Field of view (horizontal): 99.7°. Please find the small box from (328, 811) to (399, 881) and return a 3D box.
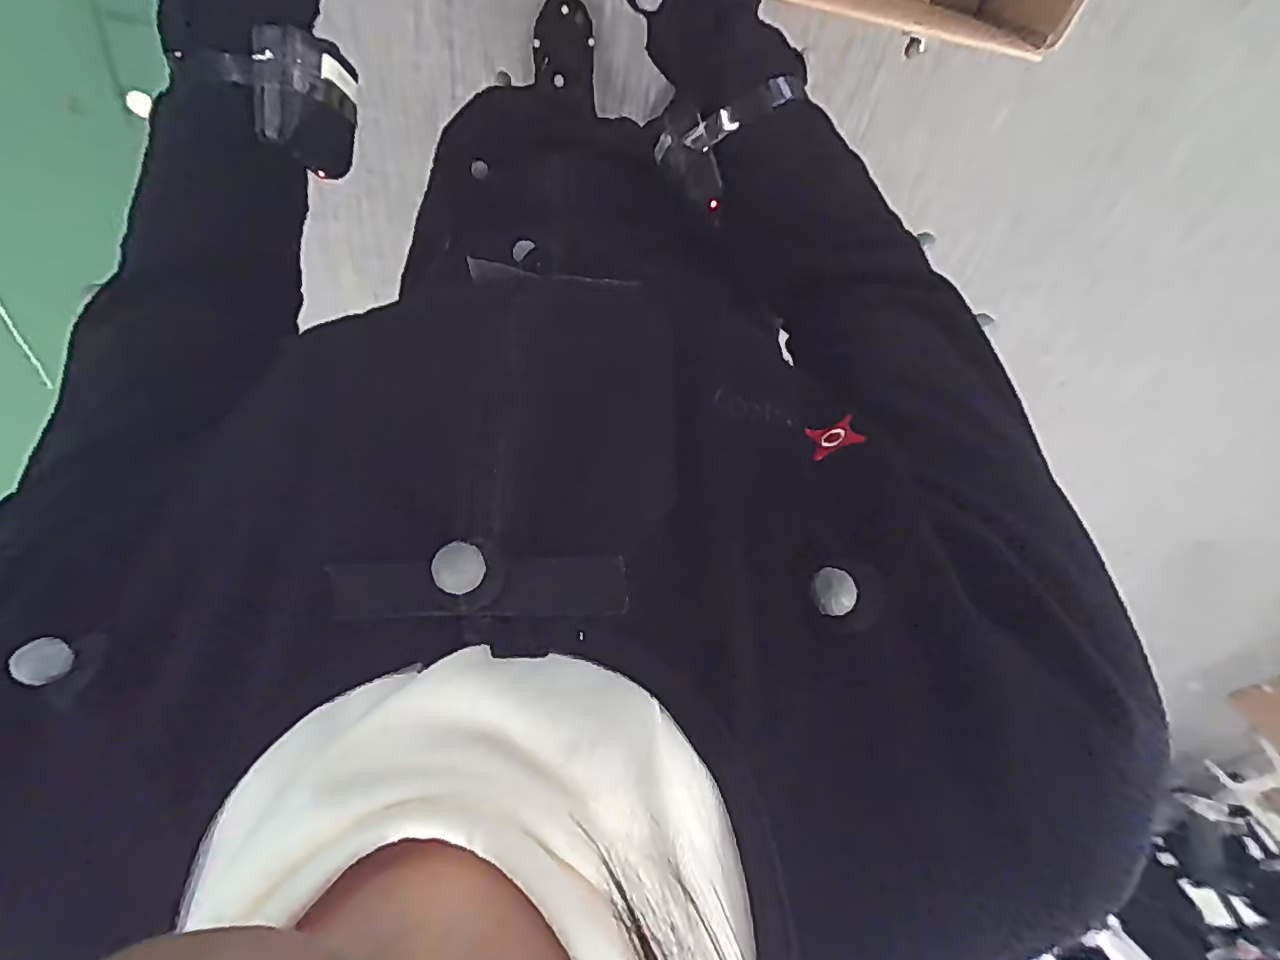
[{"bbox_3d":[-0.950,1.270,1.874,0.168,0.176,0.179,8,133,-9],"label":"small box"}]
